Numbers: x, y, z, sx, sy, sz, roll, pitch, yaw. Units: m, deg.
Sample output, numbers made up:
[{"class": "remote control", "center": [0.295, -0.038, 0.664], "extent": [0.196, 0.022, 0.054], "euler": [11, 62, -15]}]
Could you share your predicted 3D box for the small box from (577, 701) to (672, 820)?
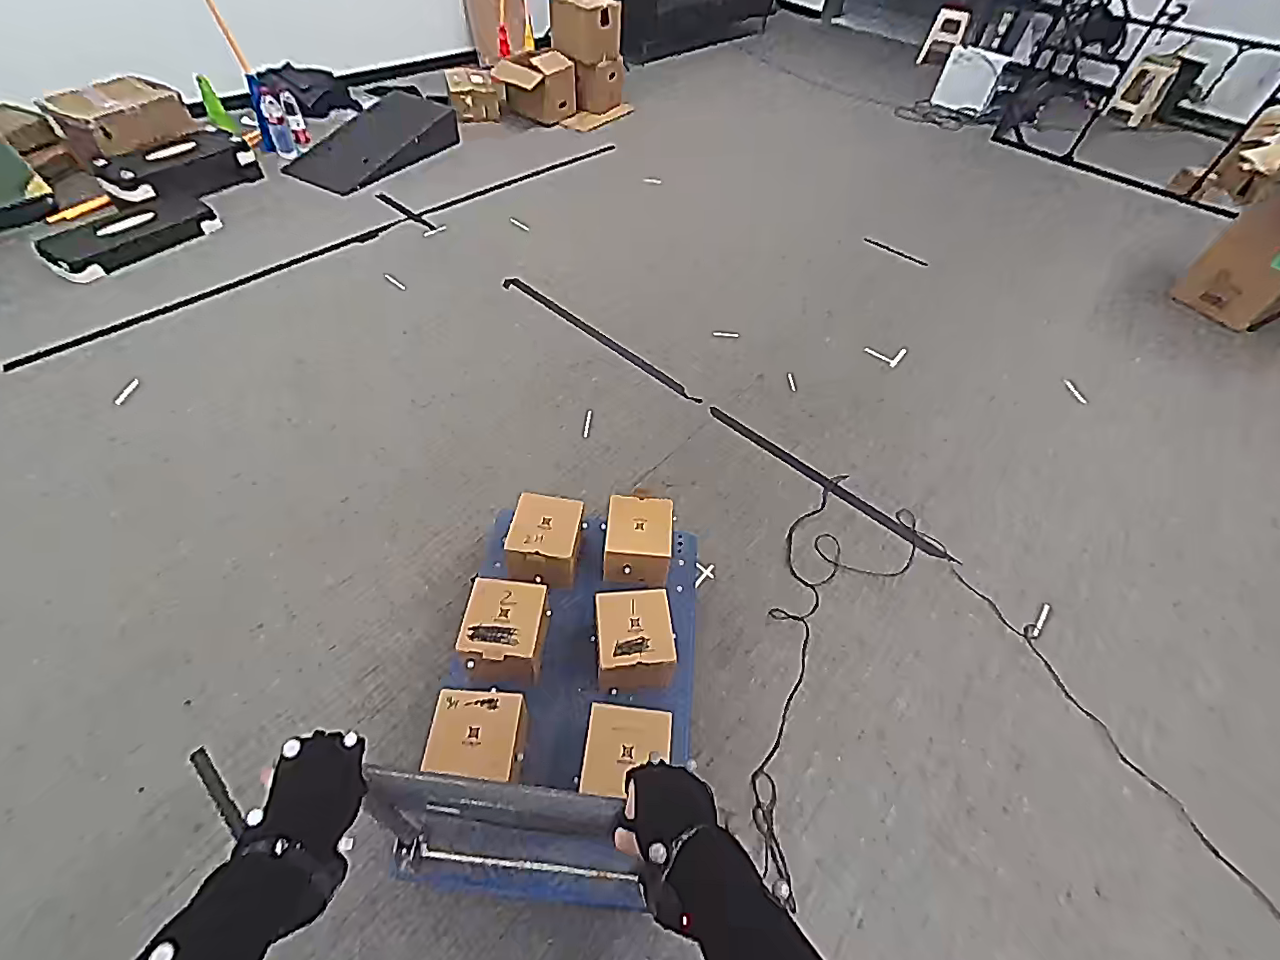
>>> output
[{"class": "small box", "center": [-0.031, 0.577, 1.104], "extent": [0.168, 0.176, 0.179], "euler": [8, 50, 0]}]

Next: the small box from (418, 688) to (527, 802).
[{"class": "small box", "center": [-0.327, 0.542, 1.098], "extent": [0.168, 0.176, 0.179], "euler": [5, 52, -3]}]

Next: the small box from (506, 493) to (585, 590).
[{"class": "small box", "center": [-0.241, 0.161, 1.410], "extent": [0.168, 0.176, 0.179], "euler": [9, 52, 1]}]

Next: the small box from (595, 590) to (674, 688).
[{"class": "small box", "center": [-0.019, 0.377, 1.265], "extent": [0.168, 0.176, 0.179], "euler": [-1, 51, -8]}]

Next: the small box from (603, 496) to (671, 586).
[{"class": "small box", "center": [-0.008, 0.165, 1.437], "extent": [0.168, 0.176, 0.179], "euler": [5, 51, -2]}]
